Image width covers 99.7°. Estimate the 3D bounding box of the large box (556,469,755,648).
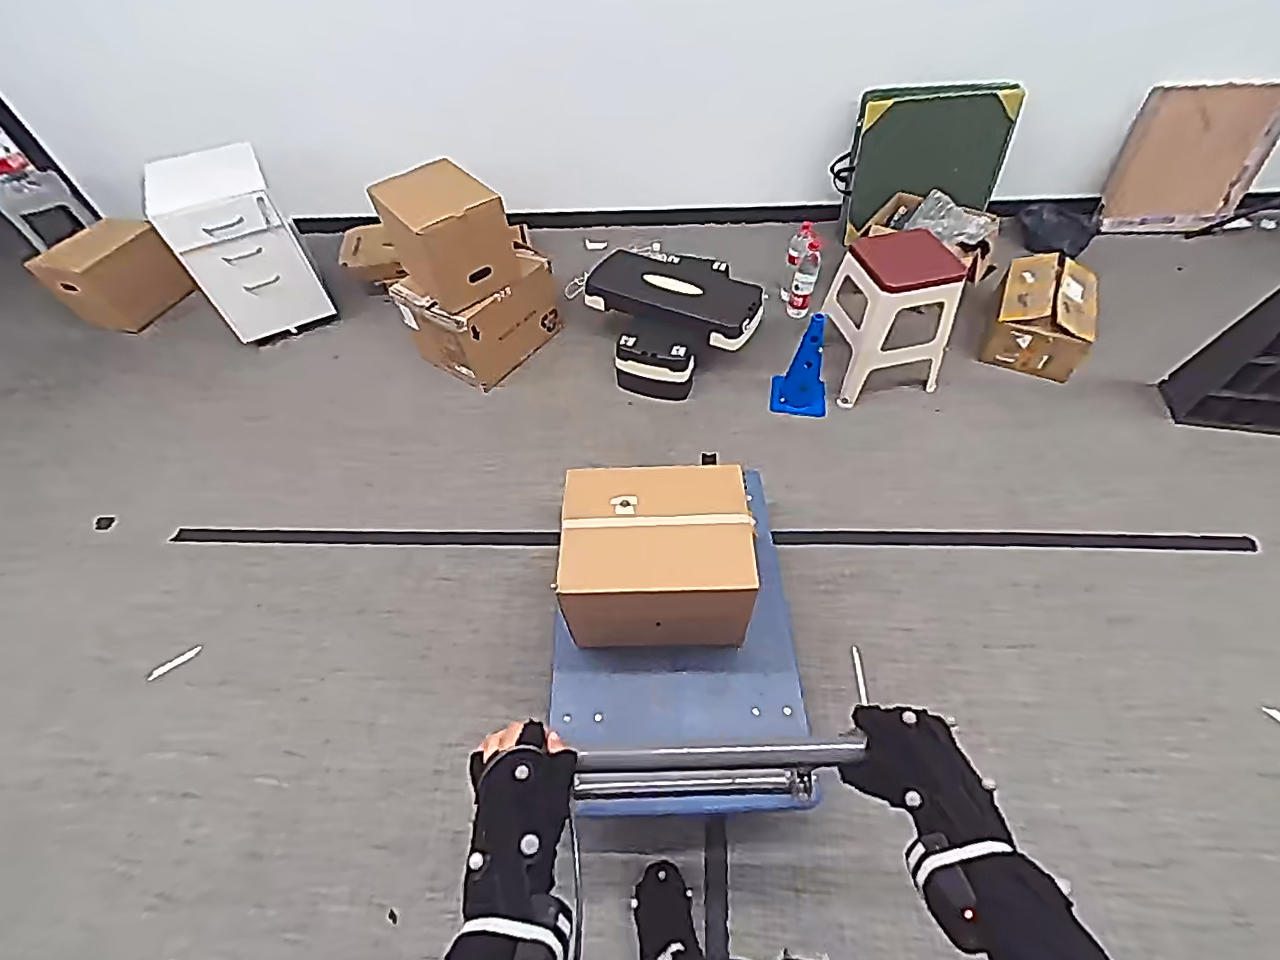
[{"bbox_3d":[0.036,0.194,1.278,0.408,0.320,0.320,-2,53,2],"label":"large box"}]
